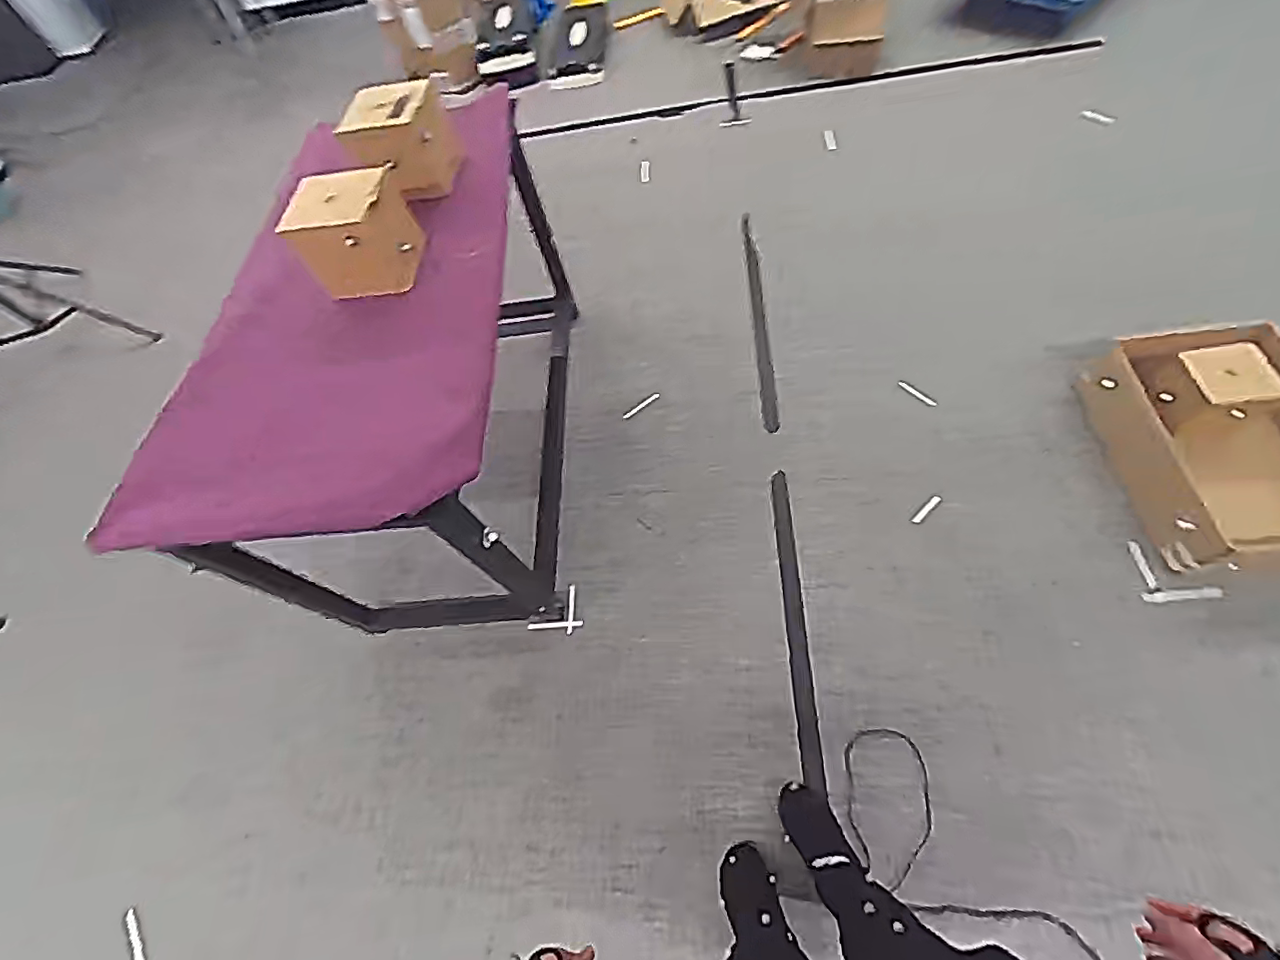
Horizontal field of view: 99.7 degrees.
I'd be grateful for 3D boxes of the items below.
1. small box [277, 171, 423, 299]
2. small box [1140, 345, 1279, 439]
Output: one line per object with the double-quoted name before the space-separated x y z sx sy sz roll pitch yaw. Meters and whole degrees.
"small box" -0.573 -0.488 1.094 0.179 0.176 0.168 -3 62 8
"small box" 1.460 -0.221 1.400 0.179 0.176 0.168 -7 62 6
